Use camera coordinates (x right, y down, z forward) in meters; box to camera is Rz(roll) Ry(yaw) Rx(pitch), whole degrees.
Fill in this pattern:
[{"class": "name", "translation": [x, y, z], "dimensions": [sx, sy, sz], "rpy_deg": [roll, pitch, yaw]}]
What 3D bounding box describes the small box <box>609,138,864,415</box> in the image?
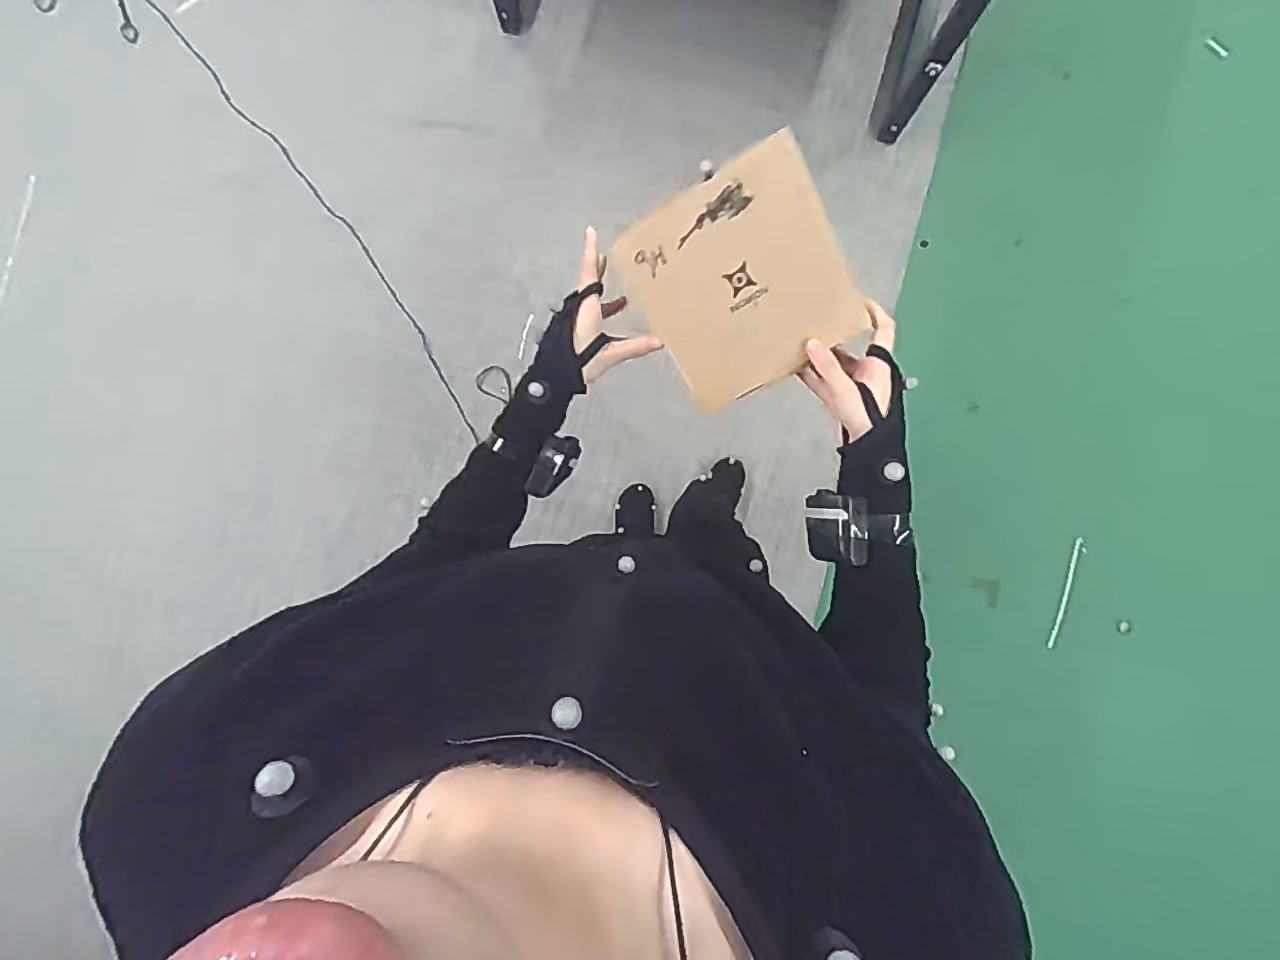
[{"class": "small box", "translation": [0.089, -0.198, 0.529], "dimensions": [0.168, 0.176, 0.179], "rpy_deg": [-26, 114, 15]}]
